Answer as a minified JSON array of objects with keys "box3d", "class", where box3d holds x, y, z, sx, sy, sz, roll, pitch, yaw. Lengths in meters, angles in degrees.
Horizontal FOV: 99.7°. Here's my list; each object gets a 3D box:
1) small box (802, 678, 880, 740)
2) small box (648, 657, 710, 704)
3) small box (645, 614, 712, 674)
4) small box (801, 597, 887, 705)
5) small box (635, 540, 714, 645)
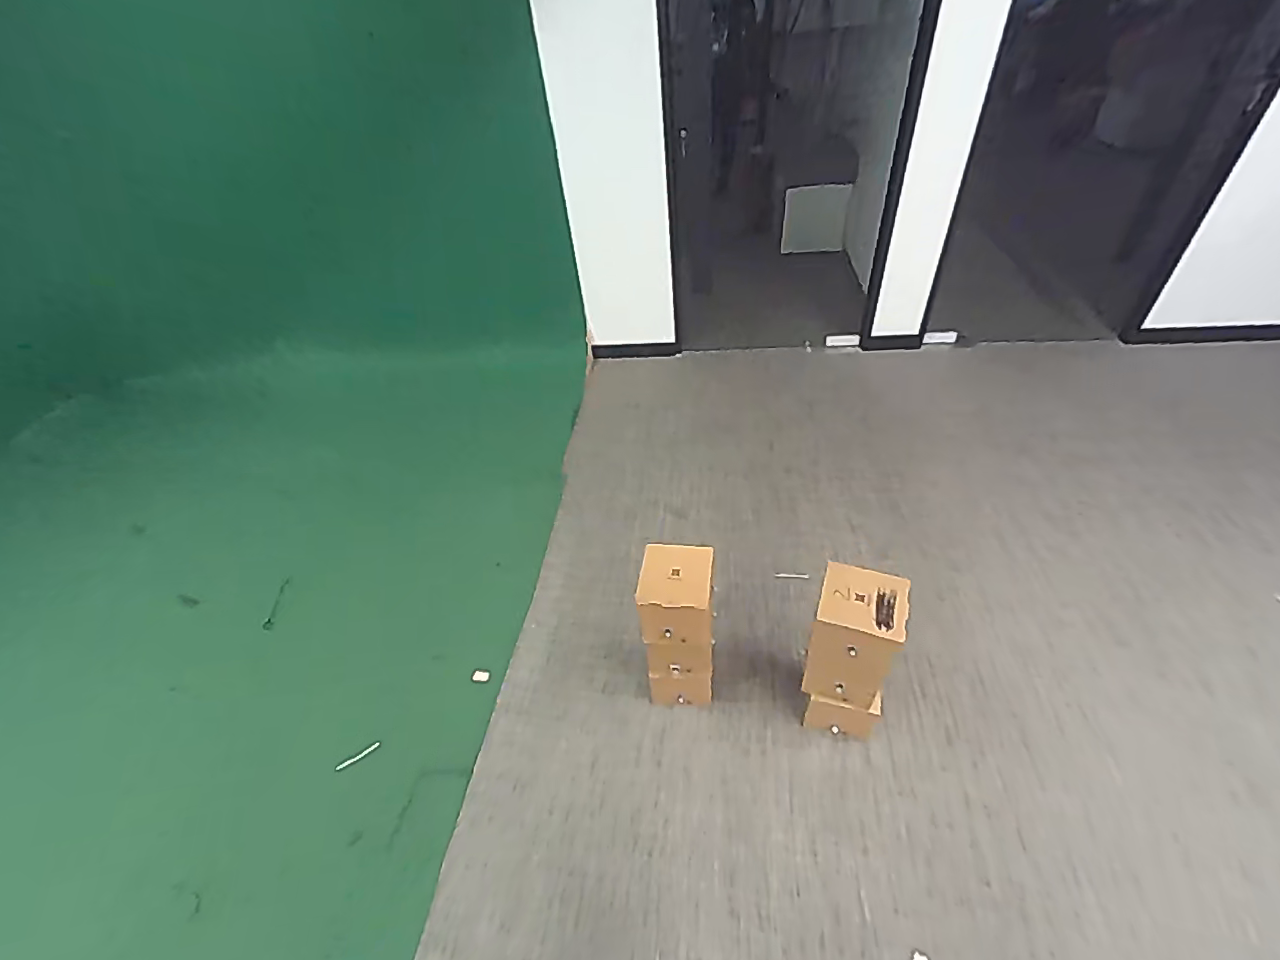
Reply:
[{"box3d":[0.526,0.548,1.424,0.168,0.176,0.179,8,45,16],"class":"small box"},{"box3d":[0.112,0.507,1.522,0.168,0.176,0.179,-2,43,6],"class":"small box"},{"box3d":[0.104,0.386,1.415,0.168,0.176,0.179,-2,43,6],"class":"small box"},{"box3d":[0.495,0.421,1.325,0.168,0.176,0.179,11,46,19],"class":"small box"},{"box3d":[0.089,0.270,1.302,0.168,0.176,0.179,3,43,11],"class":"small box"}]
